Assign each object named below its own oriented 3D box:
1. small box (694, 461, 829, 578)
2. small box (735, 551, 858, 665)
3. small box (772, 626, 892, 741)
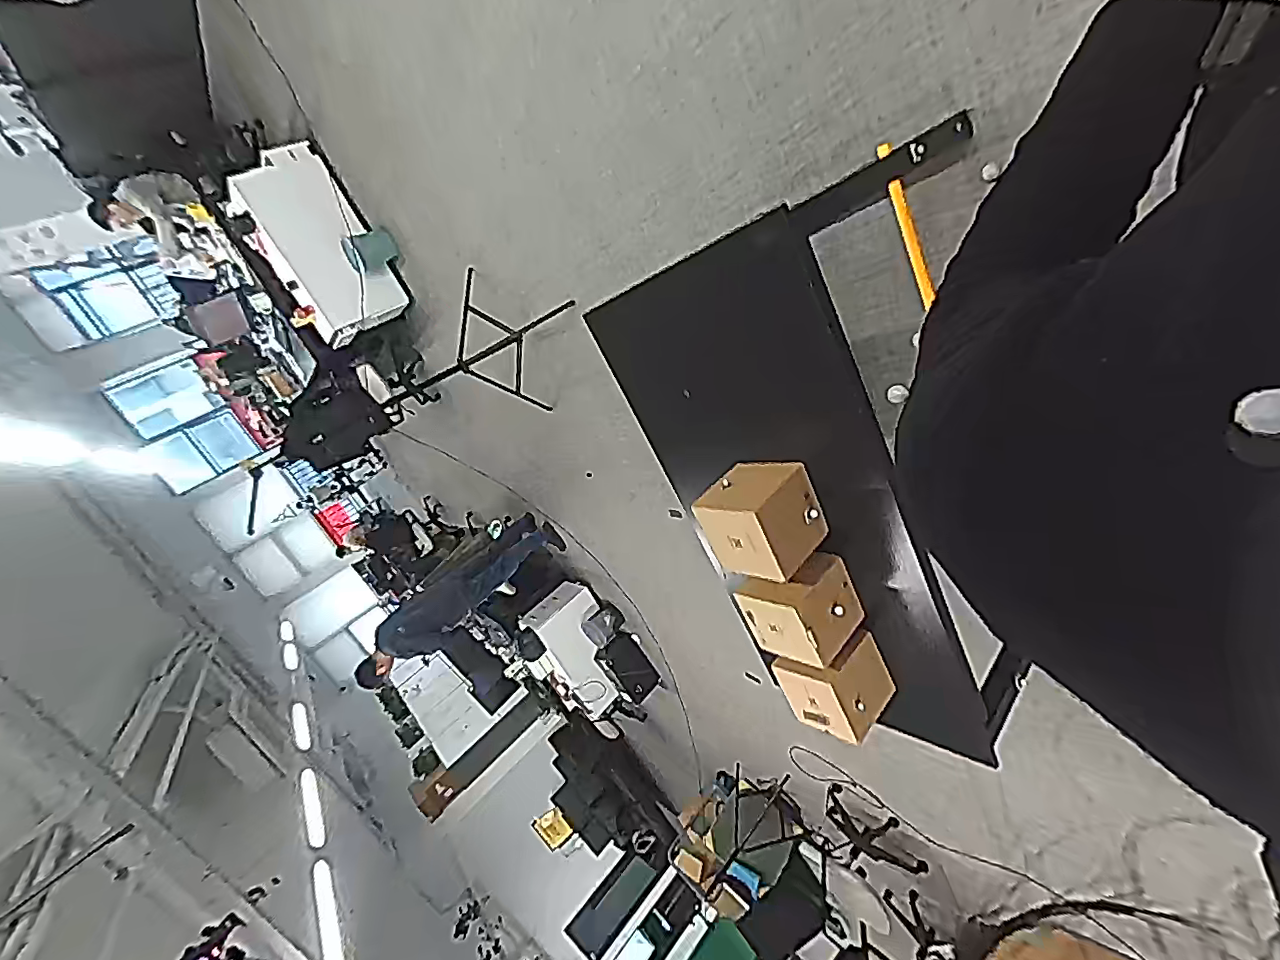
[{"bbox_3d":[0.248,0.072,1.097,0.179,0.176,0.168,0,124,54],"label":"small box"},{"bbox_3d":[0.346,0.262,1.168,0.179,0.176,0.168,0,123,55],"label":"small box"},{"bbox_3d":[0.442,0.444,1.232,0.168,0.176,0.179,-4,118,56],"label":"small box"}]
